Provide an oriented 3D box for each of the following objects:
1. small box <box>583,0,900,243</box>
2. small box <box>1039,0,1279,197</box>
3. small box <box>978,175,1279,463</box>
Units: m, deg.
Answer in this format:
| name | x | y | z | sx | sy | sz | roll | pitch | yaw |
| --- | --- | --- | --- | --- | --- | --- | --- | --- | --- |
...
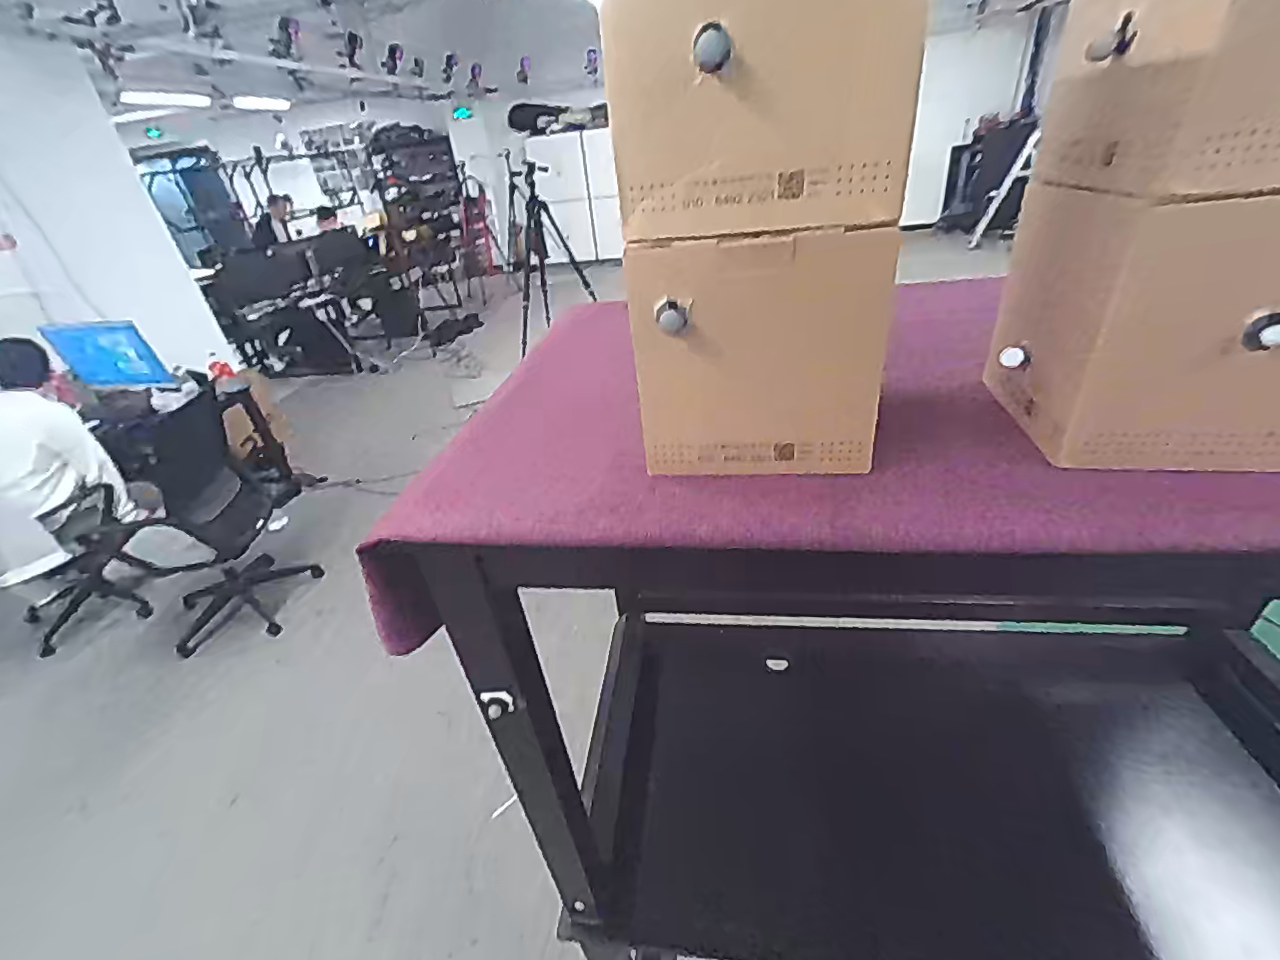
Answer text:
| name | x | y | z | sx | sy | sz | roll | pitch | yaw |
| --- | --- | --- | --- | --- | --- | --- | --- | --- | --- |
| small box | 0.072 | -0.262 | 0.362 | 0.168 | 0.176 | 0.179 | 1 | 31 | 14 |
| small box | 0.357 | -0.262 | 0.300 | 0.179 | 0.176 | 0.168 | -1 | 32 | 13 |
| small box | 0.371 | -0.121 | 0.381 | 0.179 | 0.176 | 0.168 | 0 | 32 | 15 |
